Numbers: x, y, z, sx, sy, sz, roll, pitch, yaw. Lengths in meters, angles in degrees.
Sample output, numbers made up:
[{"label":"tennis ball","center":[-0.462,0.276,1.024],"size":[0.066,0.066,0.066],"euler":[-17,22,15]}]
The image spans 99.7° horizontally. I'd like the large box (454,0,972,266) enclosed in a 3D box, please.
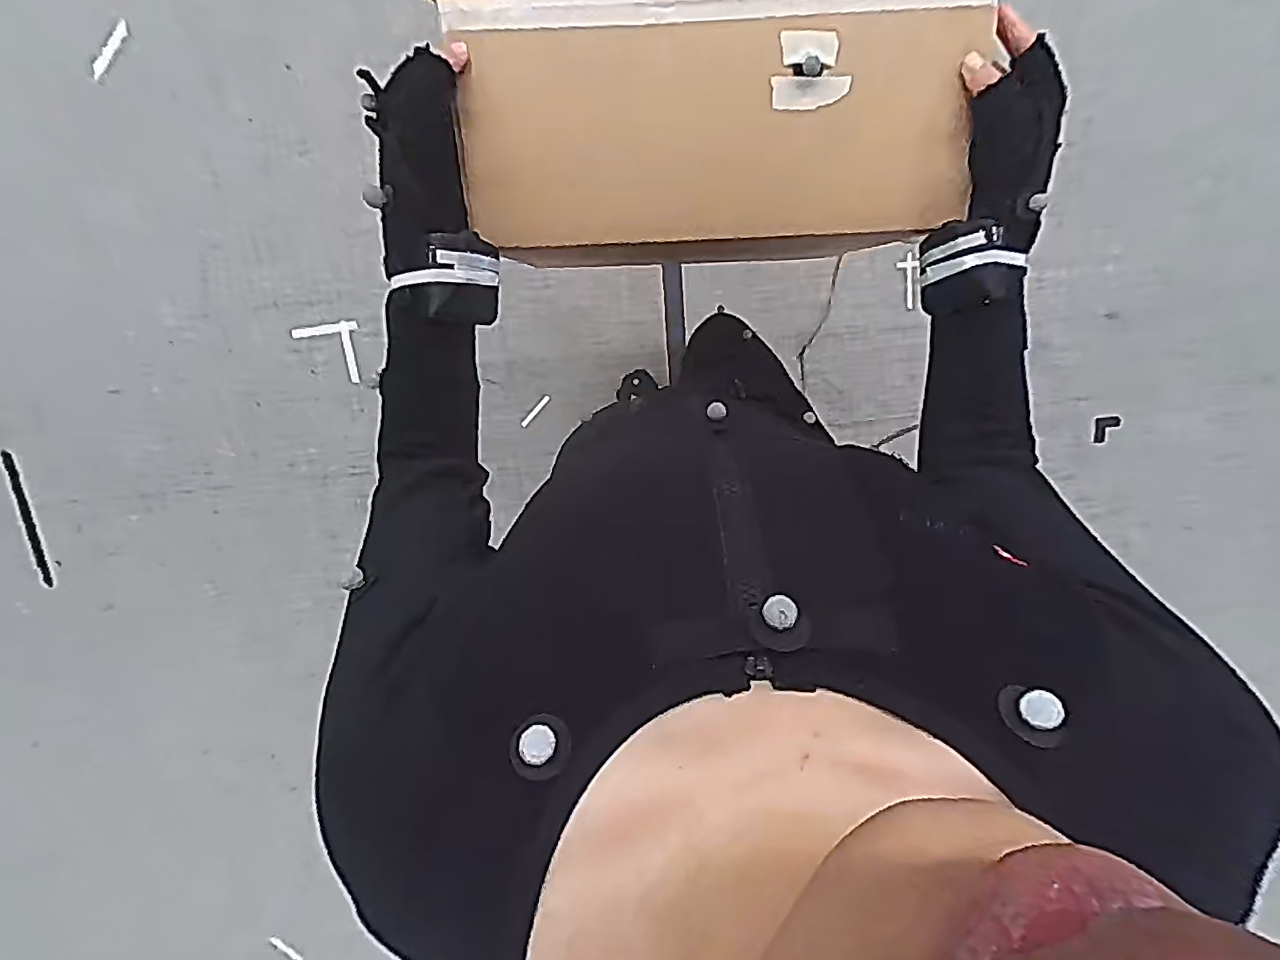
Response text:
[{"label":"large box","center":[0.052,-0.404,0.552],"size":[0.408,0.320,0.320],"euler":[-3,109,-1]}]
